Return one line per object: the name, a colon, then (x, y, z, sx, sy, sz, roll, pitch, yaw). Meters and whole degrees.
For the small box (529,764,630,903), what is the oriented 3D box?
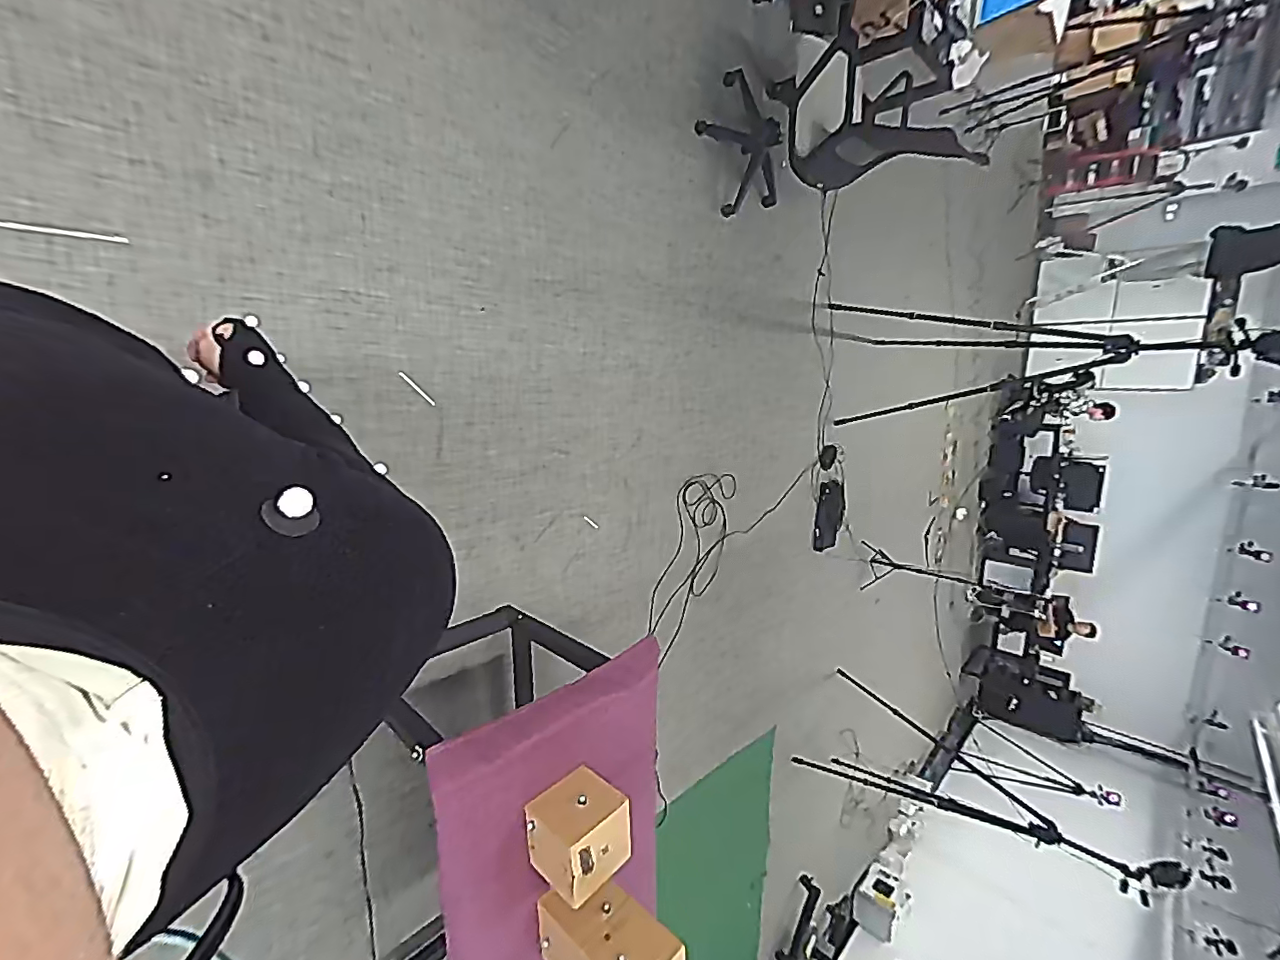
small box: (-0.146, 0.809, 1.258, 0.179, 0.176, 0.168, -15, 109, -45)

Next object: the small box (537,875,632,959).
small box: (-0.135, 1.084, 1.323, 0.168, 0.176, 0.179, -15, 108, -44)

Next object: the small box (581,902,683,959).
small box: (-0.018, 1.102, 1.210, 0.168, 0.176, 0.179, -15, 108, -43)
